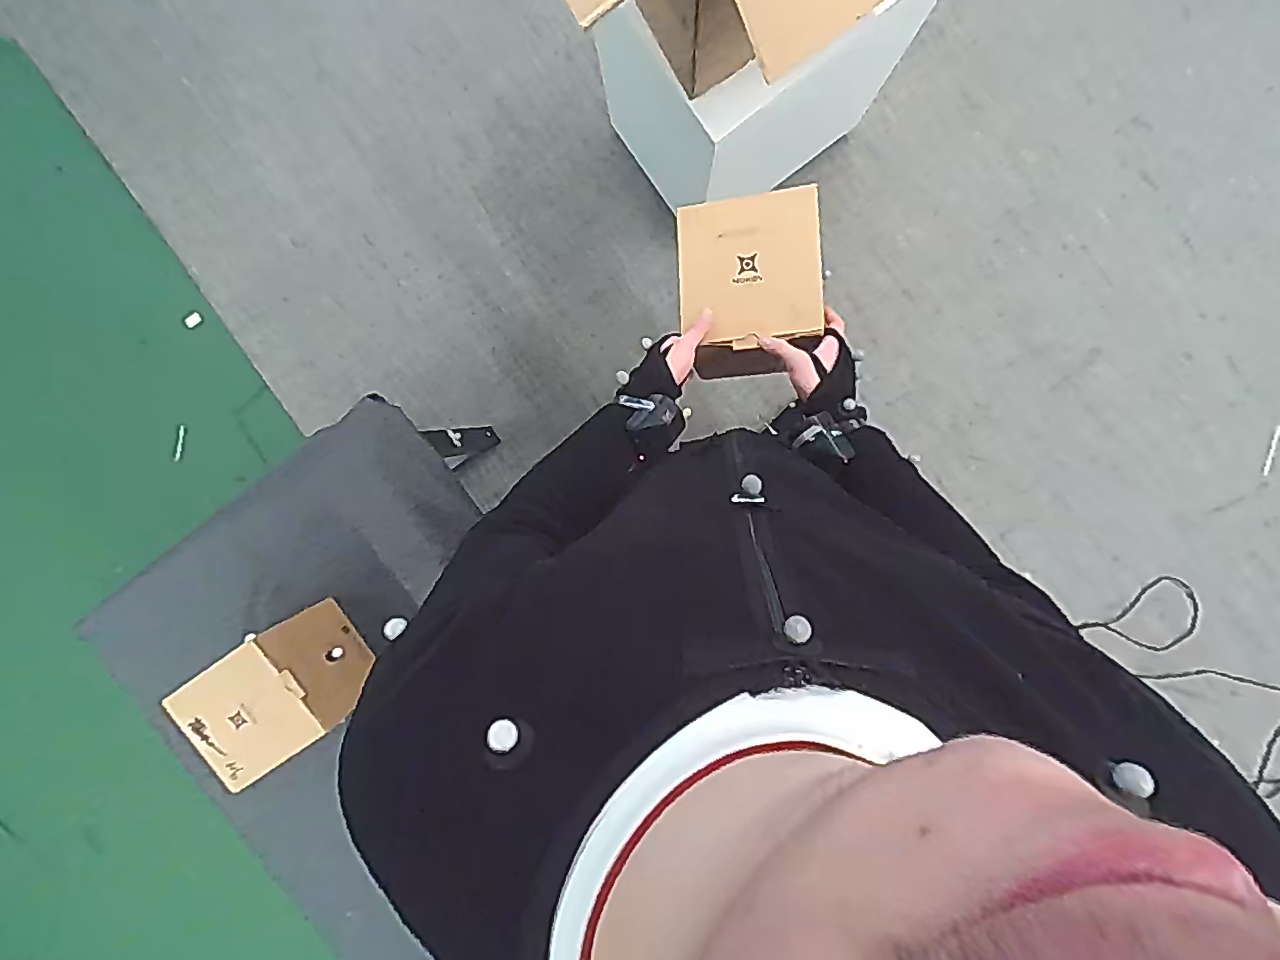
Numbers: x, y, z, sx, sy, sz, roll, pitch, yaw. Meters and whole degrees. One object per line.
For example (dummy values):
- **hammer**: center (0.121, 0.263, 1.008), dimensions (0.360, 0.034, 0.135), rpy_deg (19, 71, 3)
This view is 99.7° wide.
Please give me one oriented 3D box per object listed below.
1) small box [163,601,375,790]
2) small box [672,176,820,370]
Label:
- **small box**: center (-0.537, 0.310, 0.818), dimensions (0.179, 0.176, 0.168), rpy_deg (-34, 94, 5)
- **small box**: center (0.139, -0.247, 0.698), dimensions (0.168, 0.176, 0.179), rpy_deg (-4, 84, 14)
